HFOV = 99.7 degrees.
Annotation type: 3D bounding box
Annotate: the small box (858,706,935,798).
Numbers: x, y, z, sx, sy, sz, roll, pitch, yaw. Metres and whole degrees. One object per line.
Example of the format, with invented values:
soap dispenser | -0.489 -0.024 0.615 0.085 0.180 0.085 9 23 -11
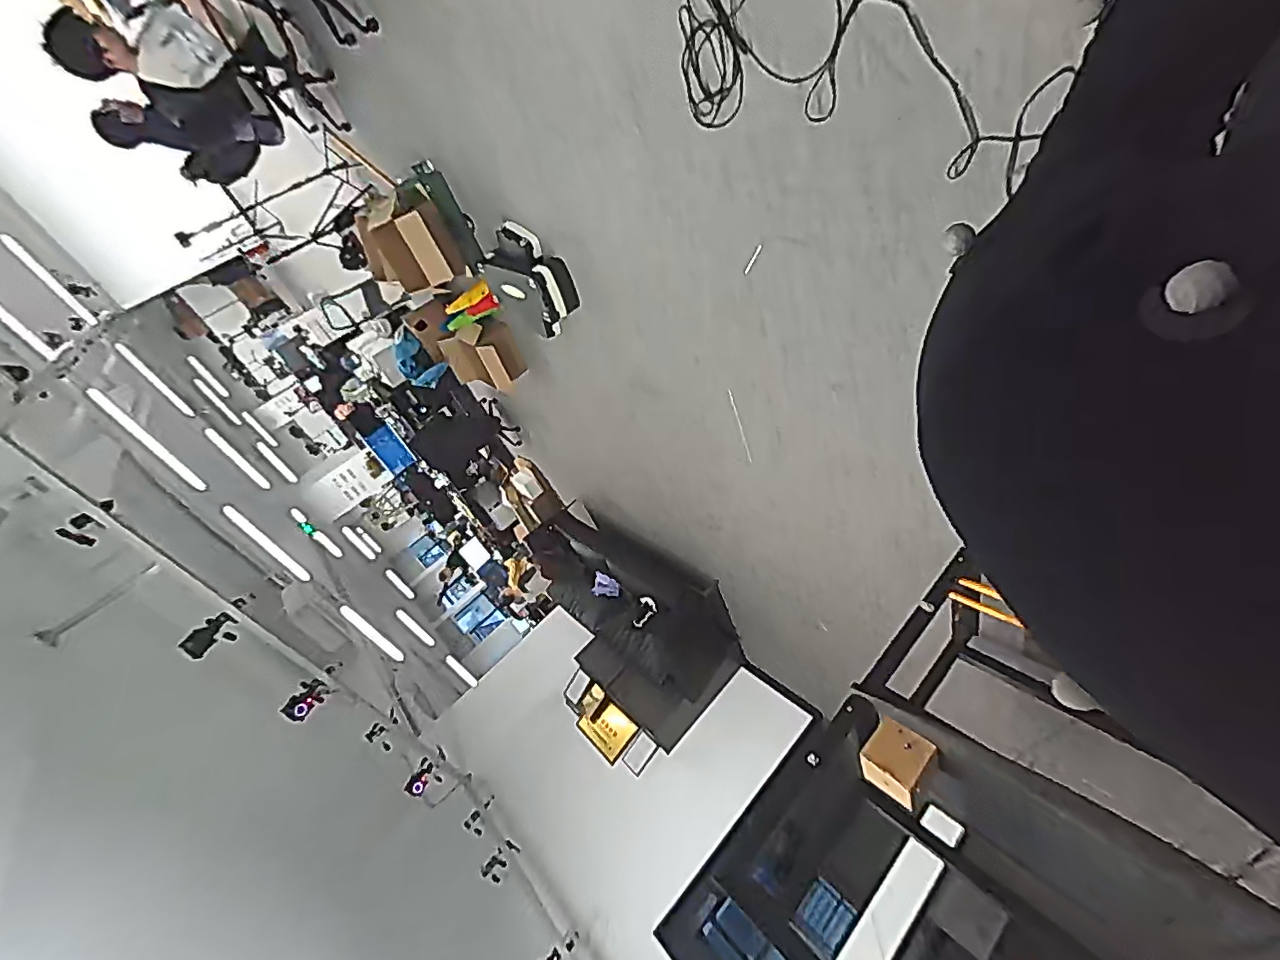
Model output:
small box | 0.834 0.876 1.748 0.168 0.176 0.179 25 149 46
